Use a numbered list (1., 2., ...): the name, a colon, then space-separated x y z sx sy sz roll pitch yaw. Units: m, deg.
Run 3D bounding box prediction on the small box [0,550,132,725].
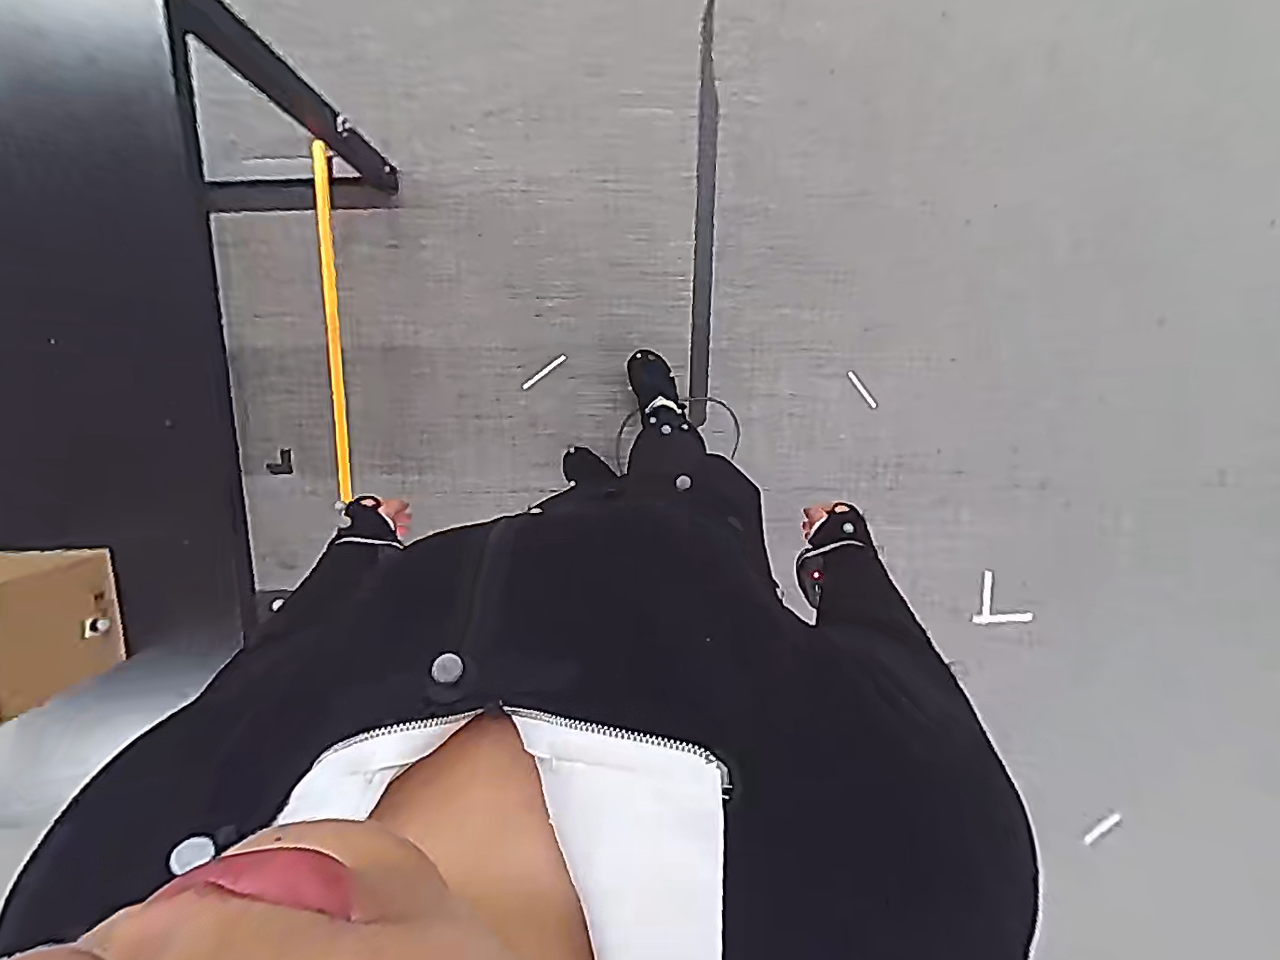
1. small box: -0.815 0.191 0.684 0.179 0.176 0.168 -3 99 -1
